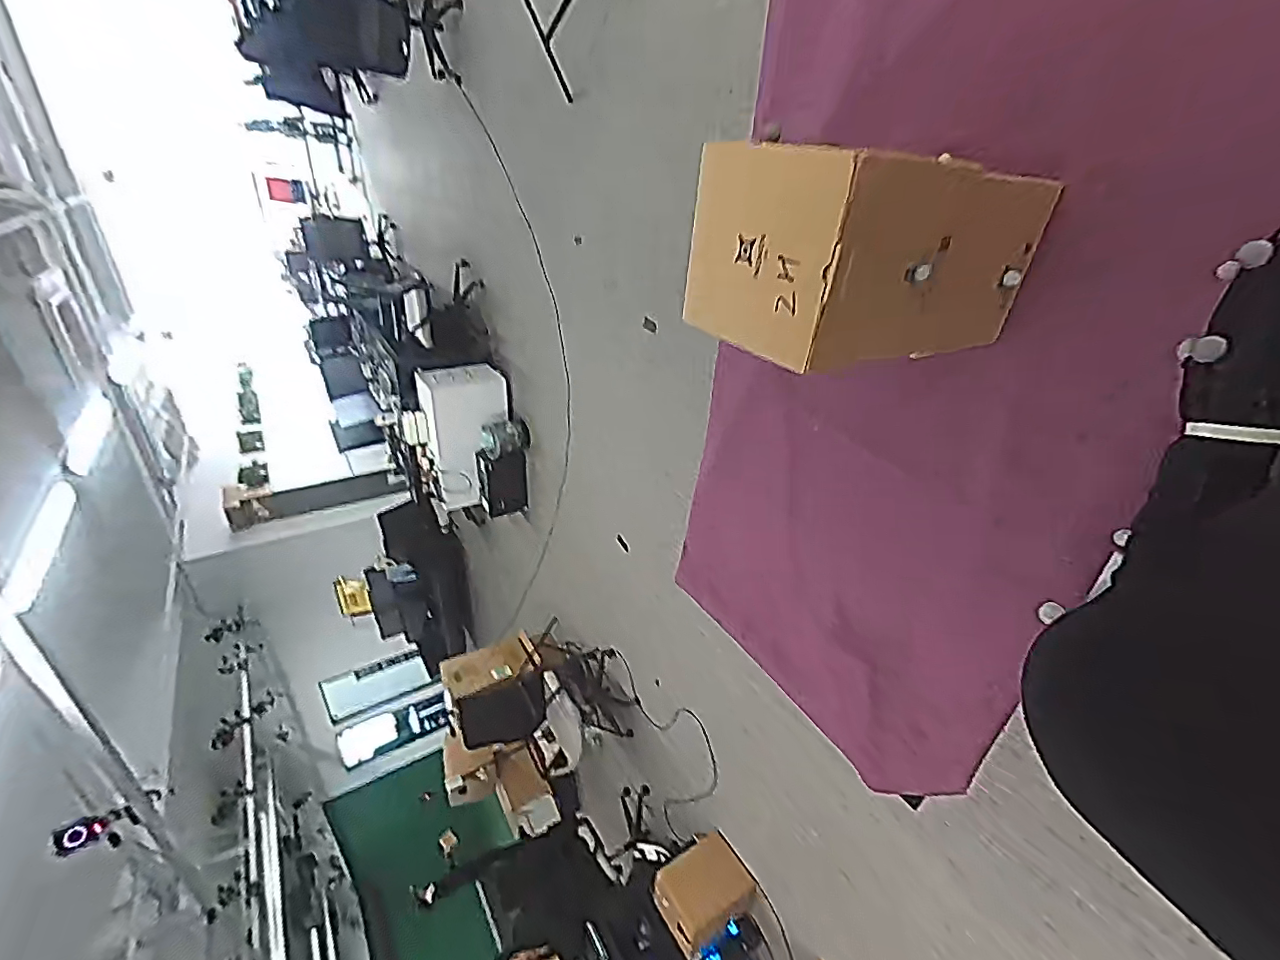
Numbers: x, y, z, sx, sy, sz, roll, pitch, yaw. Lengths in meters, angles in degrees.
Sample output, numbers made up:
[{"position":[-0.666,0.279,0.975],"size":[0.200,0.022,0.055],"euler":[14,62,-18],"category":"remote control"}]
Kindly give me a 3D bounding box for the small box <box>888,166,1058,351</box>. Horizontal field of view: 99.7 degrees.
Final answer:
[{"position":[0.302,-0.254,0.598],"size":[0.179,0.176,0.168],"euler":[41,136,43],"category":"small box"}]

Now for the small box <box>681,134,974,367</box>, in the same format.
[{"position":[0.164,-0.221,0.513],"size":[0.179,0.176,0.168],"euler":[41,137,43],"category":"small box"}]
